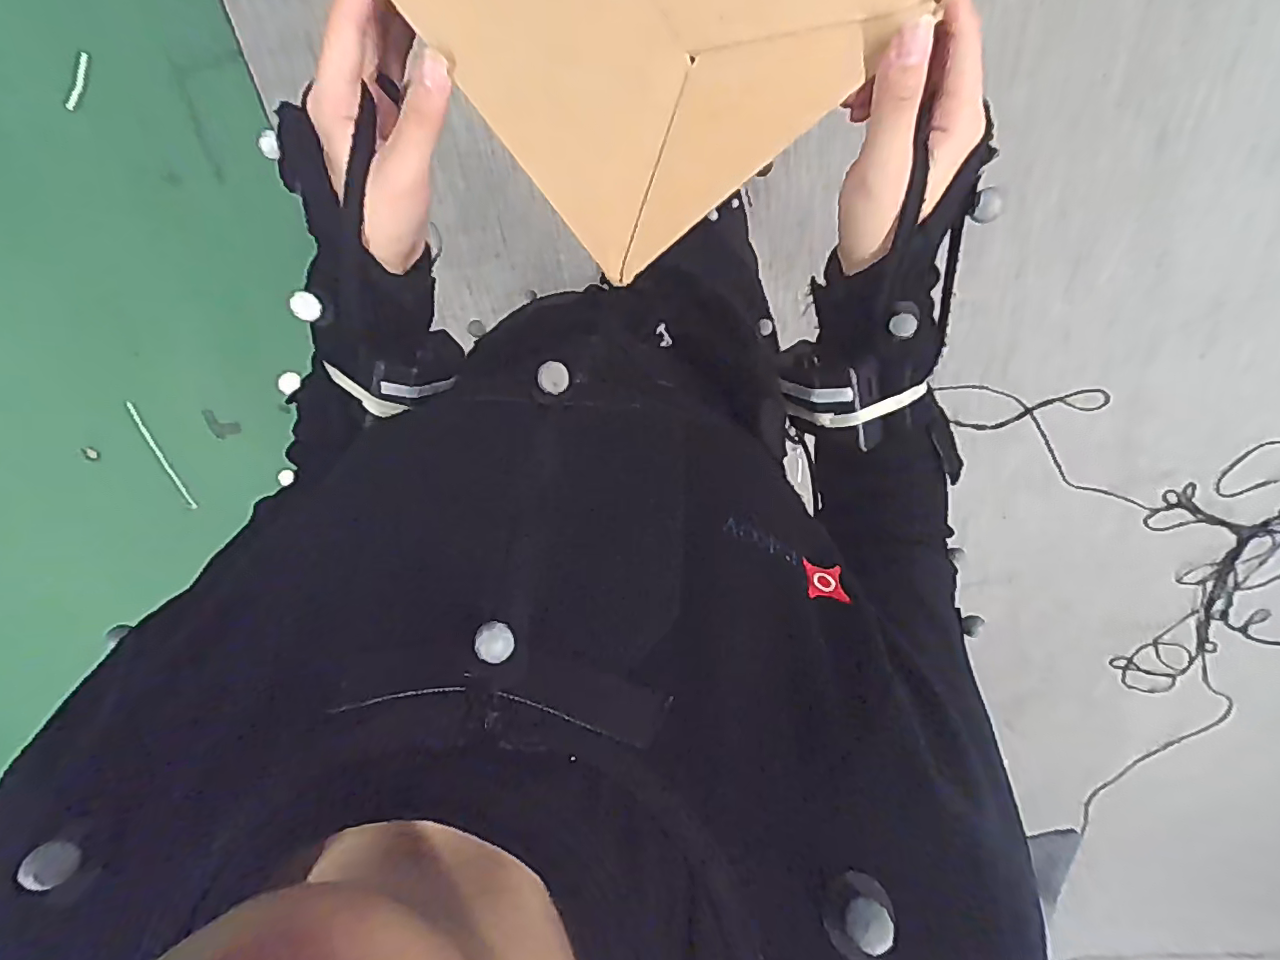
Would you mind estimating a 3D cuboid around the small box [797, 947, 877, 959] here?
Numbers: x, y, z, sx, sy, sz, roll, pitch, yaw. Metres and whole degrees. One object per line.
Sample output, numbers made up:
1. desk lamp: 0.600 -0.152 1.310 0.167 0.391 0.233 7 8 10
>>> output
1. small box: 0.434 1.097 1.100 0.168 0.176 0.179 -18 115 9
